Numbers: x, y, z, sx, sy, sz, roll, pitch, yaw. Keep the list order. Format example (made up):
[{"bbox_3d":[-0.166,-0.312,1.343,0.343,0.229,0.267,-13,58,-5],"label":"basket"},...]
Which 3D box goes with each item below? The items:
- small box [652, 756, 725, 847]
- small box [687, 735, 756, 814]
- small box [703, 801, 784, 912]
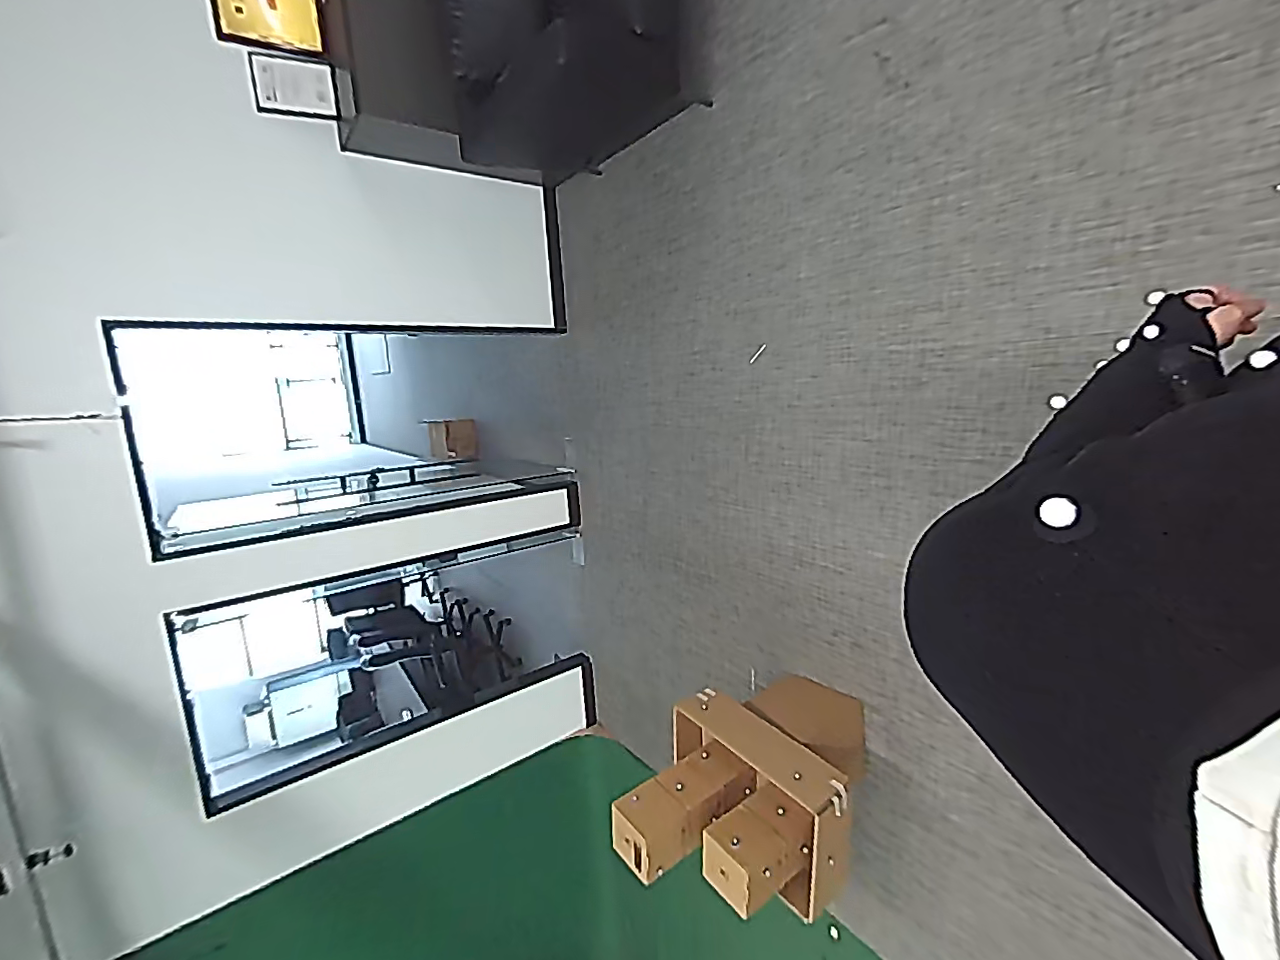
[{"bbox_3d":[0.158,1.051,1.789,0.179,0.176,0.168,13,108,50],"label":"small box"},{"bbox_3d":[0.283,1.026,1.887,0.179,0.176,0.168,15,111,51],"label":"small box"},{"bbox_3d":[0.306,1.096,1.593,0.179,0.176,0.168,16,111,52],"label":"small box"}]
